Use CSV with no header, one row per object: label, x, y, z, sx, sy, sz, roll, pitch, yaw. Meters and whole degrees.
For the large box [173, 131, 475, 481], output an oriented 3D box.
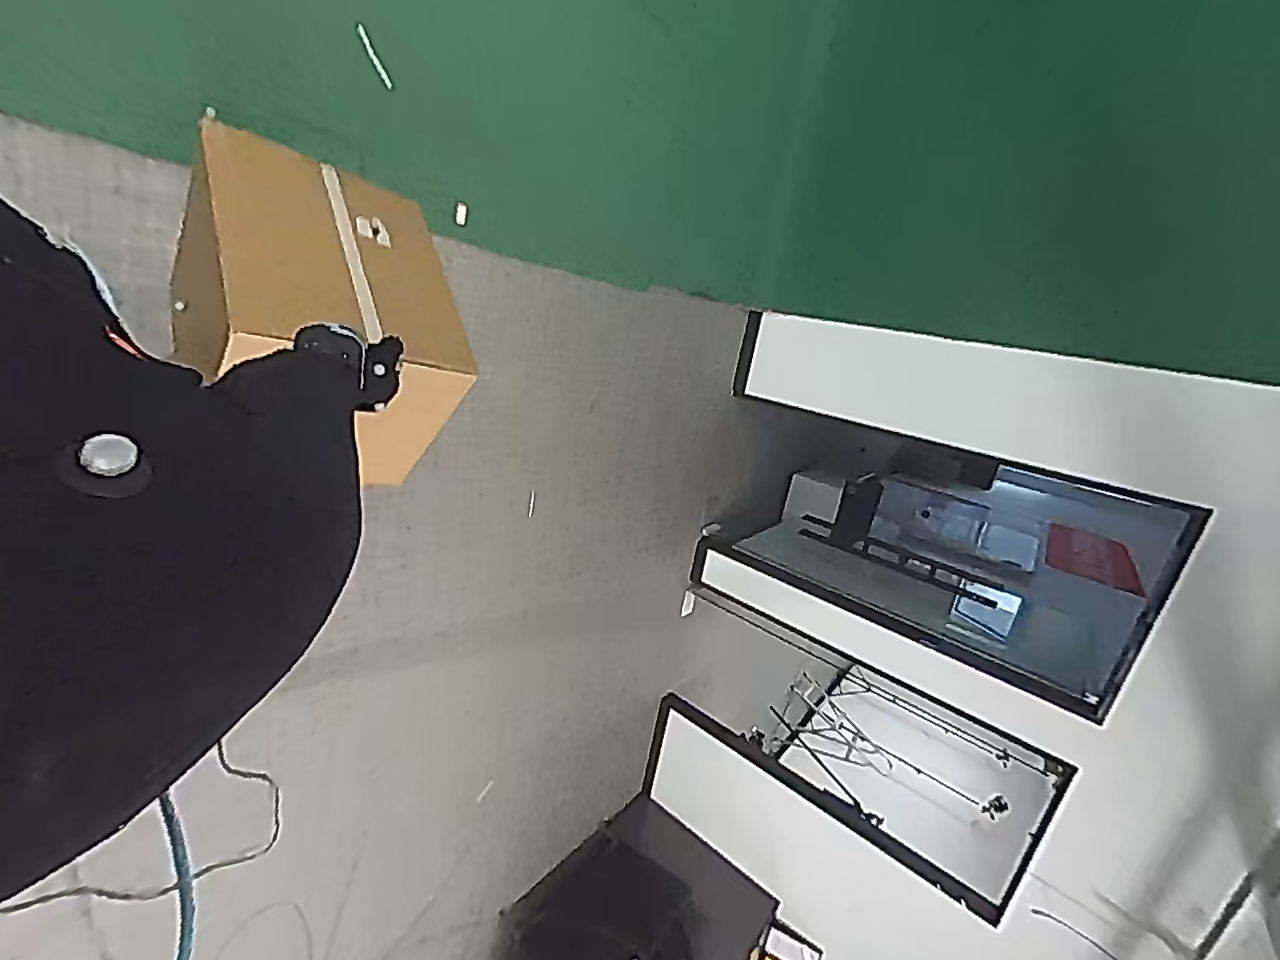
large box,-0.528,-0.244,0.880,0.320,0.408,0.320,3,144,-49
